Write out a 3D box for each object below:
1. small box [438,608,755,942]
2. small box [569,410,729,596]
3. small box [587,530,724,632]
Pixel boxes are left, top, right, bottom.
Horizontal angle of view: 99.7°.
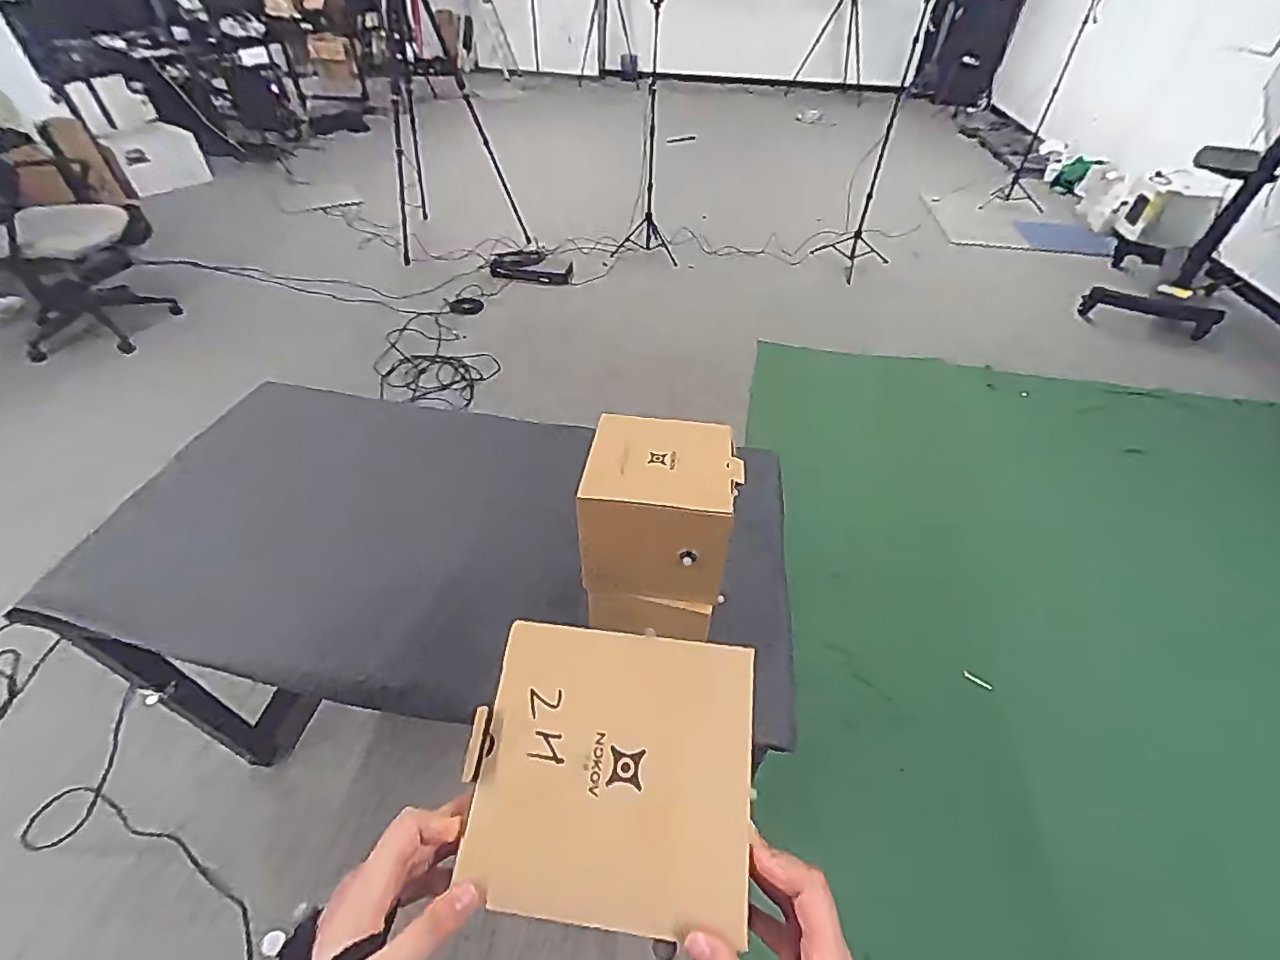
[{"bbox_3d":[-0.015,0.207,0.406,0.179,0.176,0.168,5,61,7],"label":"small box"},{"bbox_3d":[0.017,0.030,0.693,0.179,0.176,0.168,5,41,5],"label":"small box"},{"bbox_3d":[0.024,0.151,0.802,0.168,0.176,0.179,11,44,10],"label":"small box"}]
